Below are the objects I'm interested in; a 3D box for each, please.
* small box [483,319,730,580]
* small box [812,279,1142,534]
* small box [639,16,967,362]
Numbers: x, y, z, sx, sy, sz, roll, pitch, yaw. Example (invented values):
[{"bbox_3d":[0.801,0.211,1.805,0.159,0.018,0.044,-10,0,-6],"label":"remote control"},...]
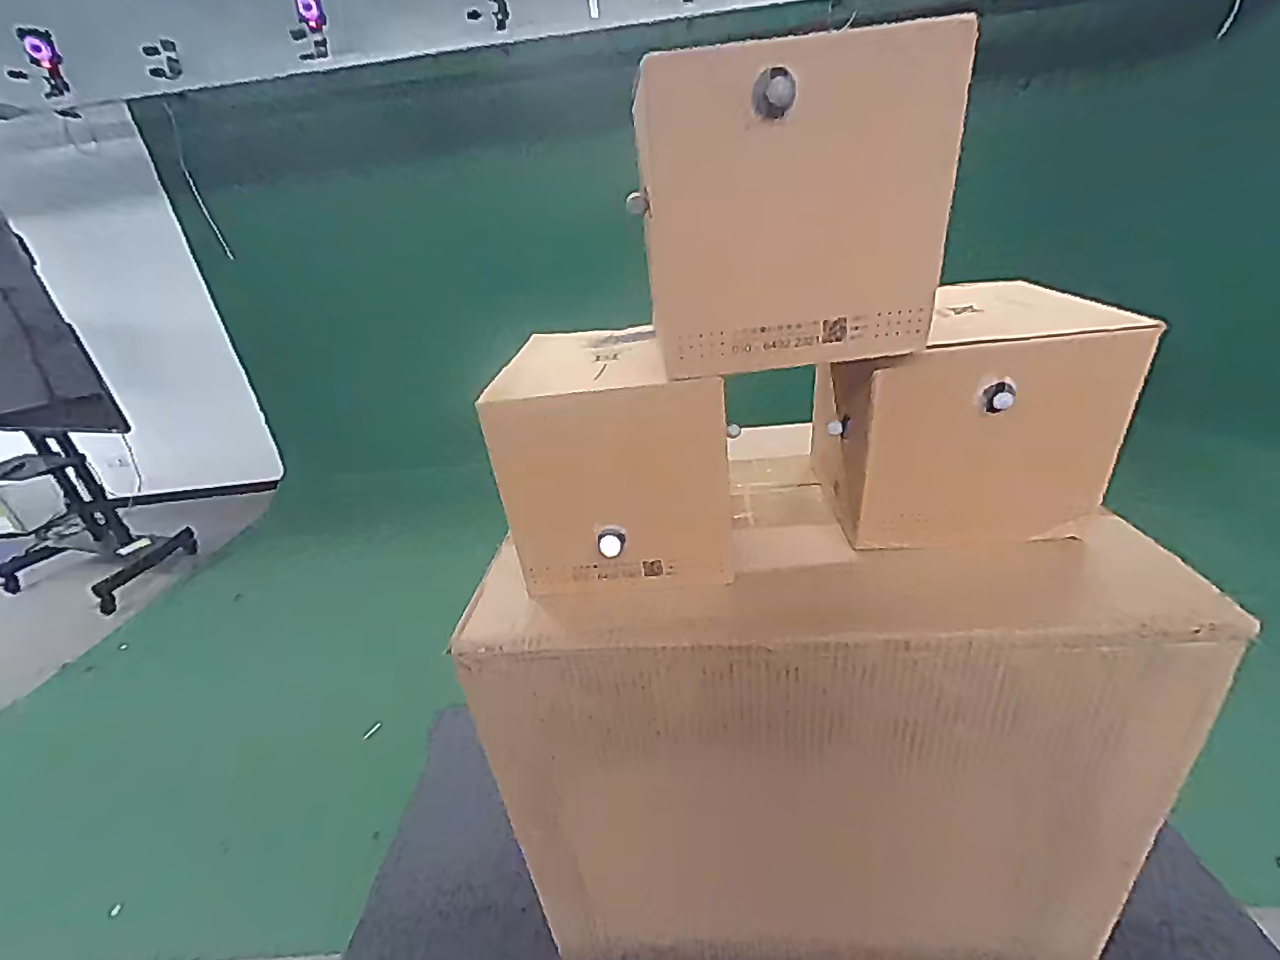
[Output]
[{"bbox_3d":[-0.012,-0.034,0.465,0.168,0.176,0.179,-4,29,7],"label":"small box"},{"bbox_3d":[0.250,-0.065,0.460,0.179,0.176,0.168,-2,29,5],"label":"small box"},{"bbox_3d":[0.087,-0.189,0.381,0.168,0.176,0.179,-6,28,1],"label":"small box"}]
